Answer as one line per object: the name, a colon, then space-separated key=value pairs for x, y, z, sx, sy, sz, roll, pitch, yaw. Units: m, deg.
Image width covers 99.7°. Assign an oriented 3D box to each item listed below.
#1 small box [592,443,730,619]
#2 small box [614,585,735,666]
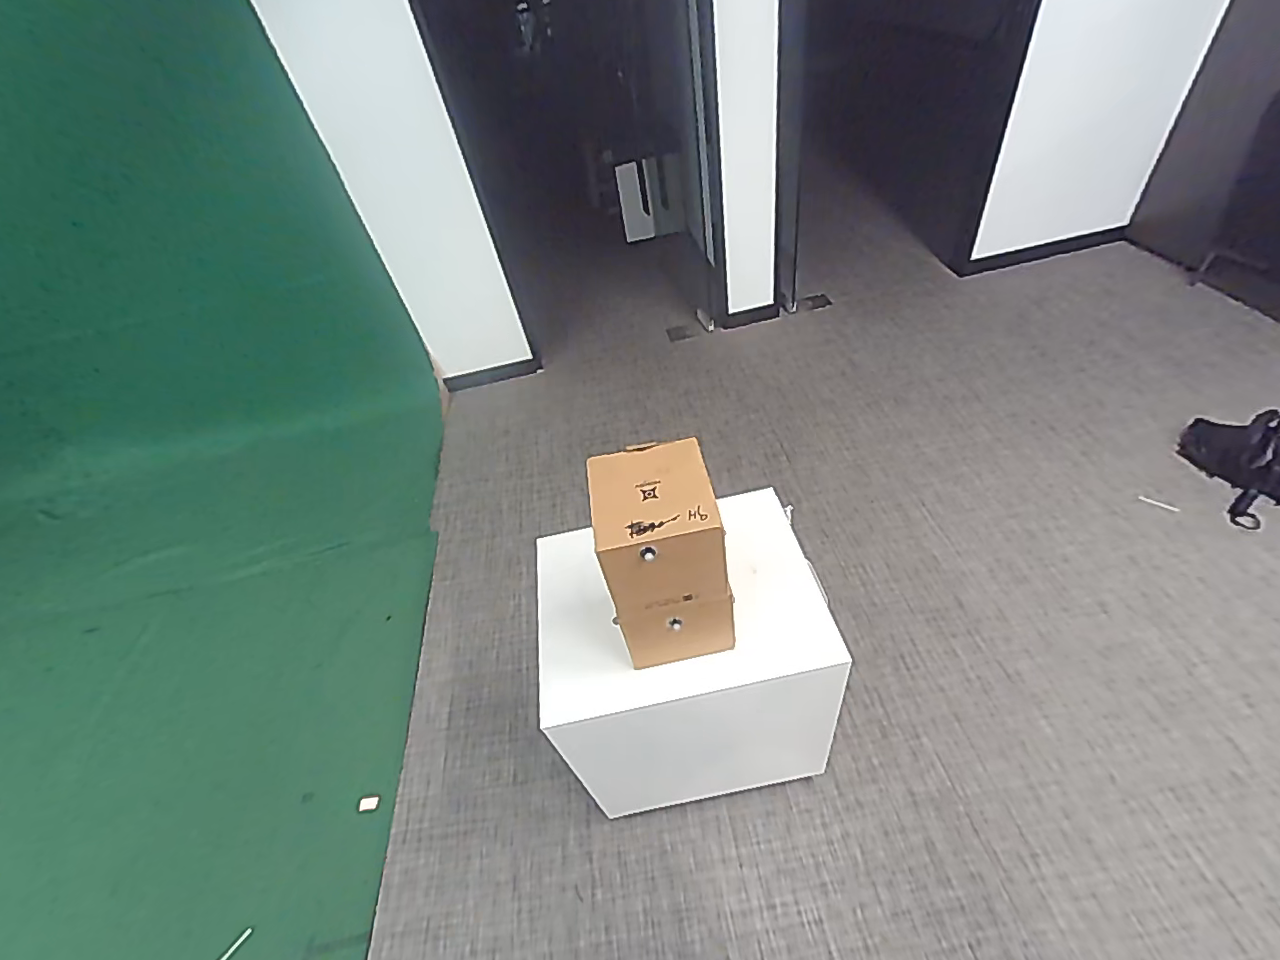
small box: x=0.031 y=0.076 z=0.798 sx=0.168 sy=0.176 sz=0.179 roll=-13 pitch=45 yaw=-1
small box: x=0.054 y=0.191 z=0.908 sx=0.179 sy=0.176 sz=0.168 roll=-12 pitch=45 yaw=0
